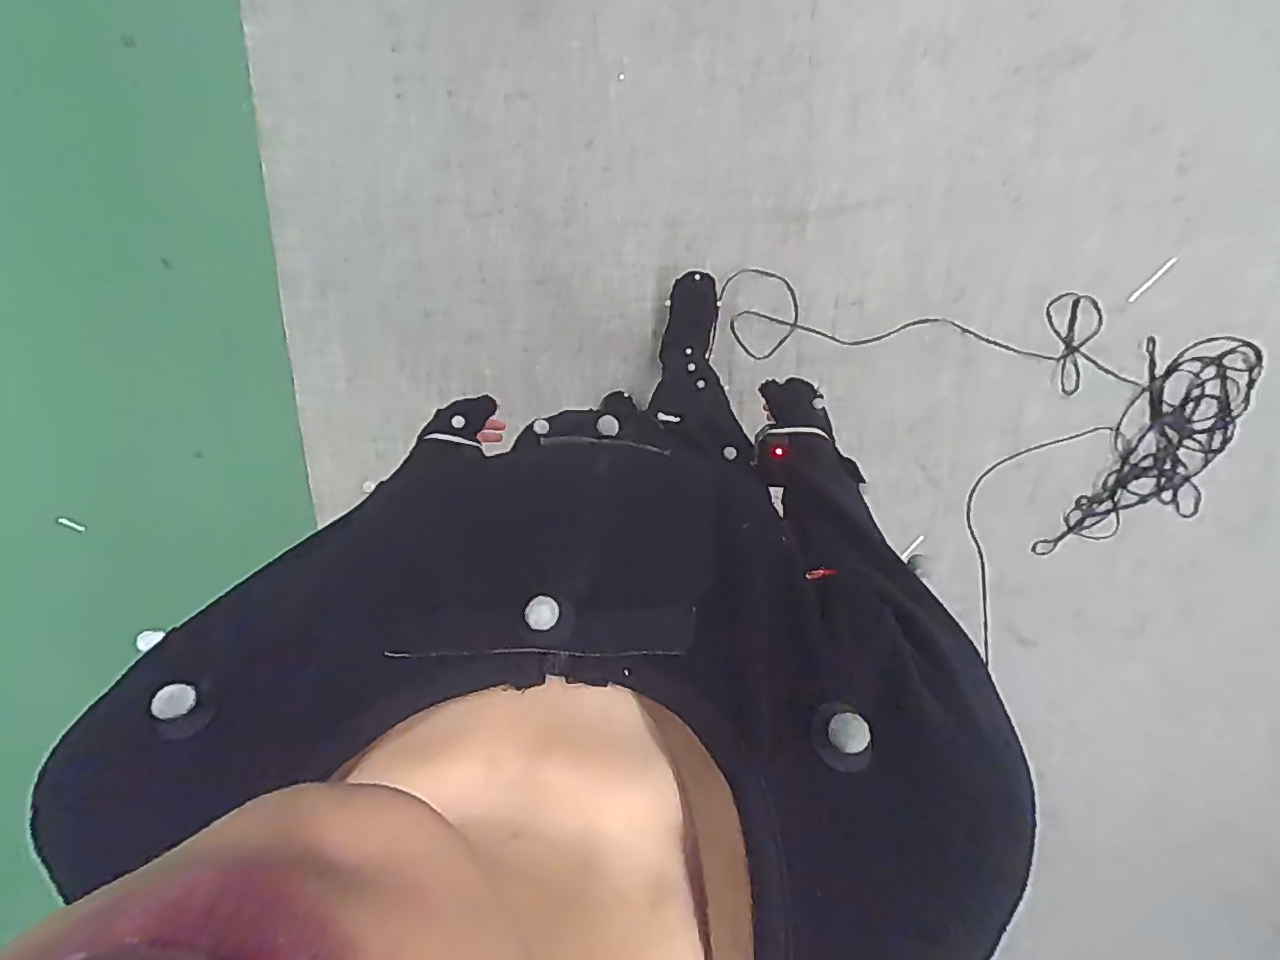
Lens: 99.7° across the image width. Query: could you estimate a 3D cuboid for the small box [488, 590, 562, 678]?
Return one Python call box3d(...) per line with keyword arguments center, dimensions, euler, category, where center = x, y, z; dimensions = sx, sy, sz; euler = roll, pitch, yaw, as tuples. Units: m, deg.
box3d(center=(-0.311, 0.421, 1.488), dimensions=(0.168, 0.176, 0.179), euler=(1, 101, 1), category="small box")
